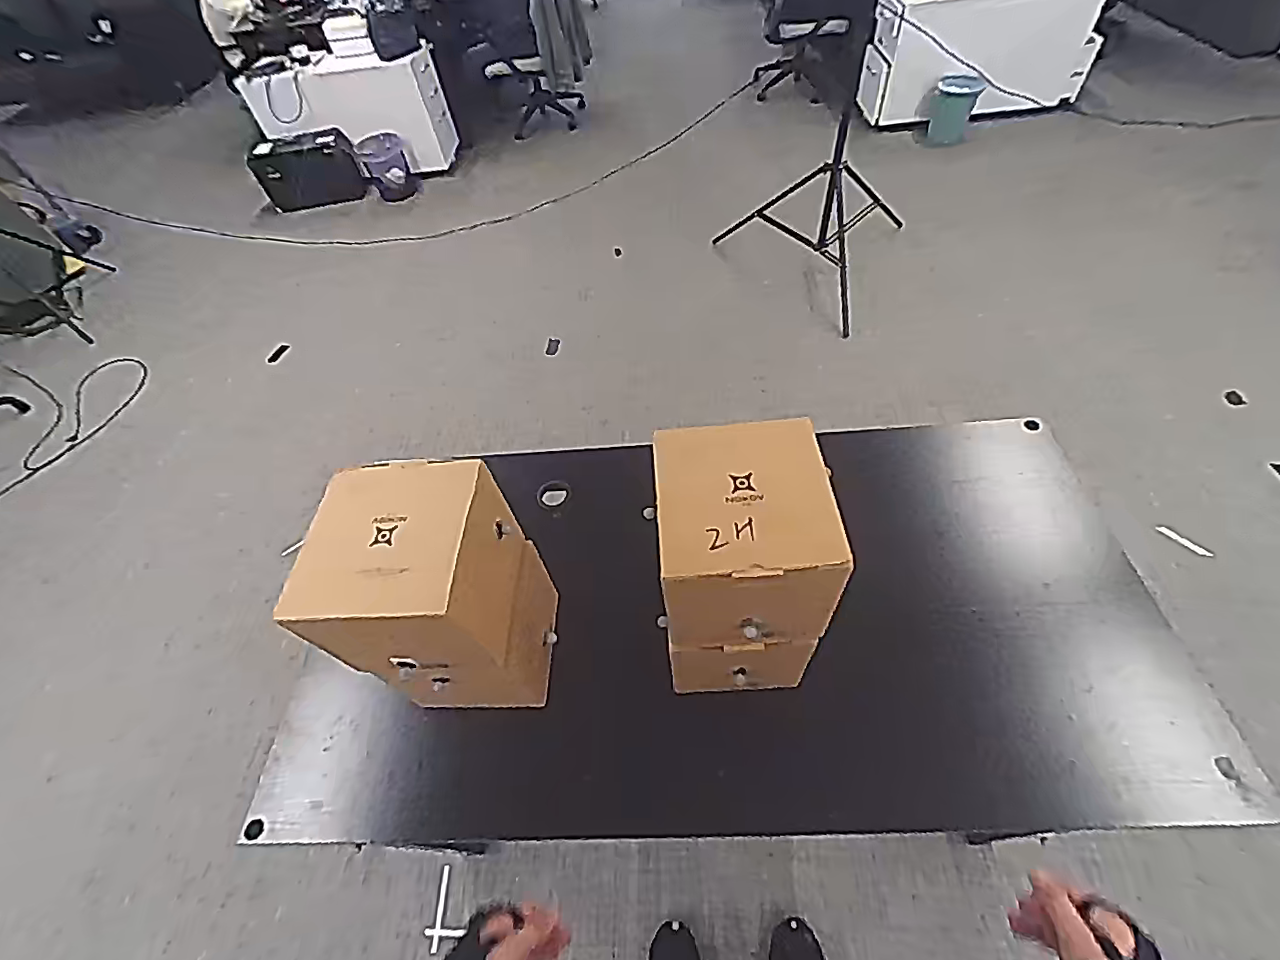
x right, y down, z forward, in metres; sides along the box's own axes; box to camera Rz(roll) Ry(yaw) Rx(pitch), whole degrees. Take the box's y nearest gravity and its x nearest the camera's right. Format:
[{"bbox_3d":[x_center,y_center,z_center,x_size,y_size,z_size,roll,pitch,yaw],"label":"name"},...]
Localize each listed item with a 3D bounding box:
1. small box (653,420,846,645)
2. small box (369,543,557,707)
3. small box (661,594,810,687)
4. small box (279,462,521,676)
[{"bbox_3d":[0.103,0.060,0.584,0.168,0.176,0.179,-5,52,4],"label":"small box"},{"bbox_3d":[-0.221,0.198,0.725,0.179,0.176,0.168,-2,53,4],"label":"small box"},{"bbox_3d":[0.115,0.164,0.713,0.168,0.176,0.179,-5,53,4],"label":"small box"},{"bbox_3d":[-0.238,0.102,0.595,0.168,0.176,0.179,-4,54,5],"label":"small box"}]
